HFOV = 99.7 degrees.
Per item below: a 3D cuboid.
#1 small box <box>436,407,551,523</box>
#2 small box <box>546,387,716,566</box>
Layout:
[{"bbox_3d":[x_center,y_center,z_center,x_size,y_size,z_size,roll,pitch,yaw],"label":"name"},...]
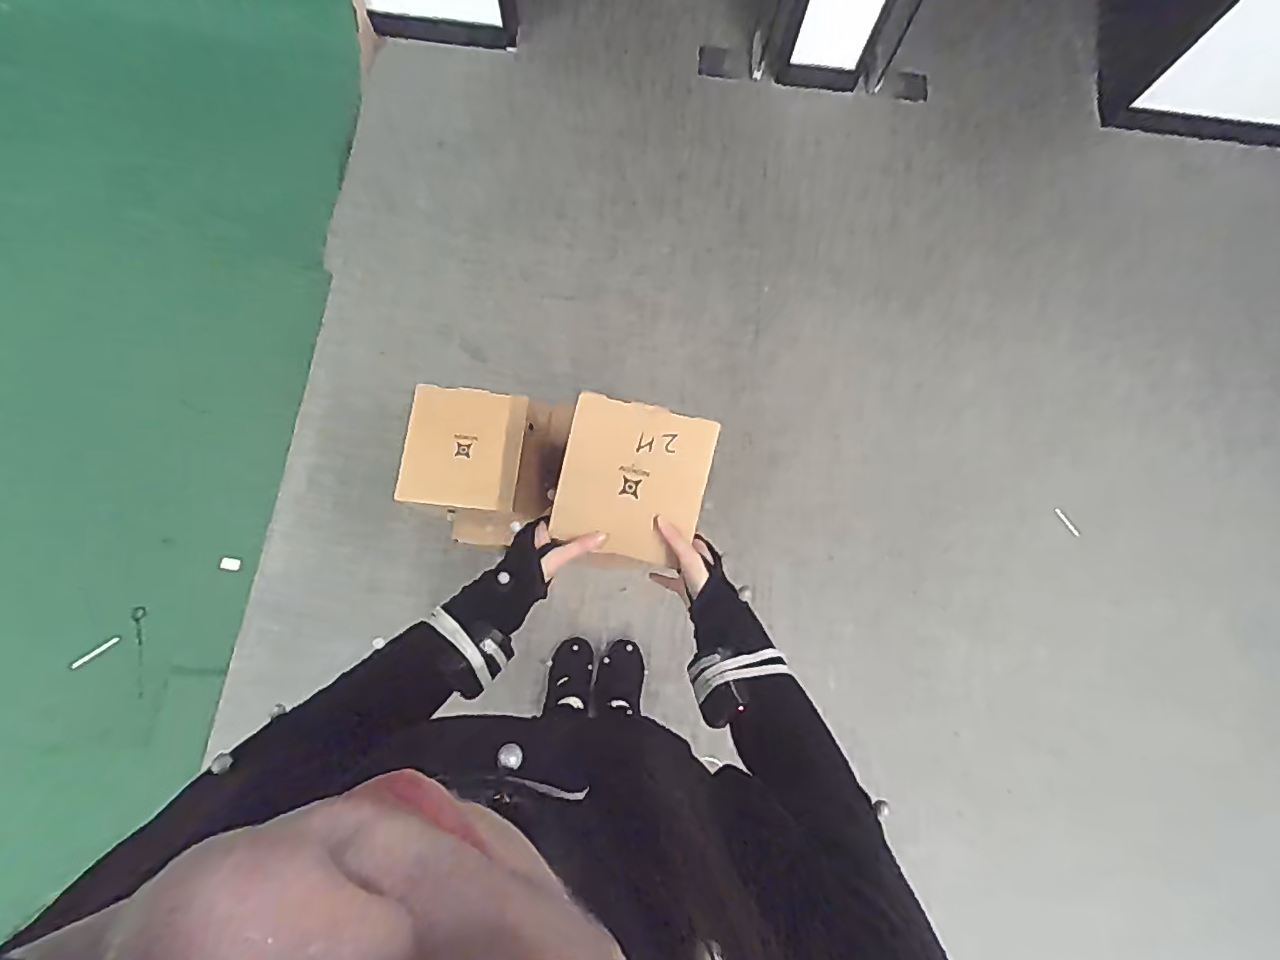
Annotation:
[{"bbox_3d":[-0.266,-0.021,1.023,0.168,0.176,0.179,7,80,-3],"label":"small box"},{"bbox_3d":[-0.007,-0.007,0.704,0.168,0.176,0.179,15,93,1],"label":"small box"}]
